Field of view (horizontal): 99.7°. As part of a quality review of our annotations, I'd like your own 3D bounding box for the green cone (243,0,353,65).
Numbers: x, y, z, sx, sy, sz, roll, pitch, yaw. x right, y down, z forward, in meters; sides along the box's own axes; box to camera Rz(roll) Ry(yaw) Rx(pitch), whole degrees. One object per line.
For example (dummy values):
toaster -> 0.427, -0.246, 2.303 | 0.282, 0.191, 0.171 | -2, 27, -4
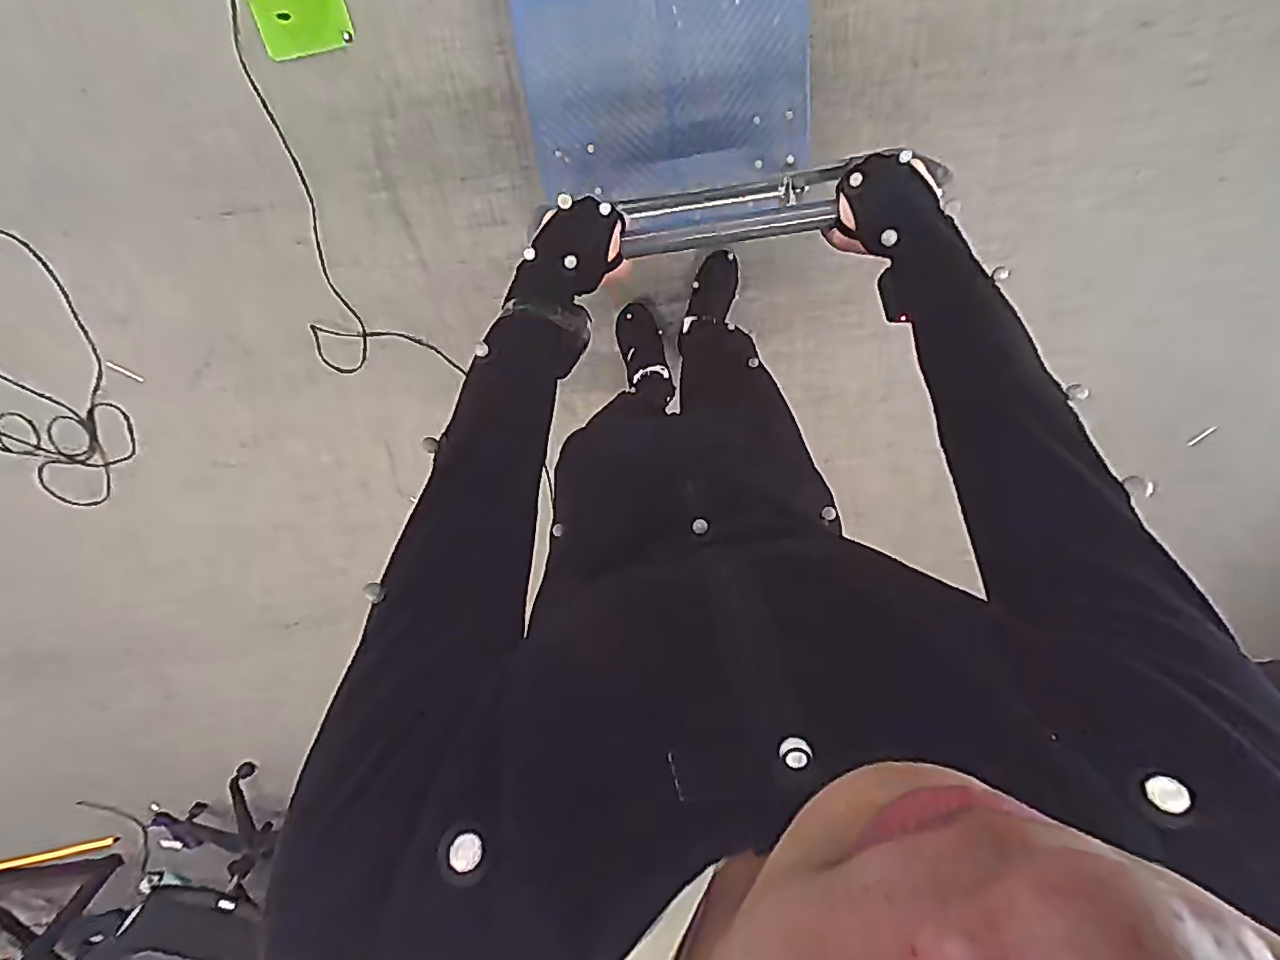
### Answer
green cone -> -0.737, -0.948, 0.995 | 0.202, 0.368, 0.200 | -10, 115, 5
